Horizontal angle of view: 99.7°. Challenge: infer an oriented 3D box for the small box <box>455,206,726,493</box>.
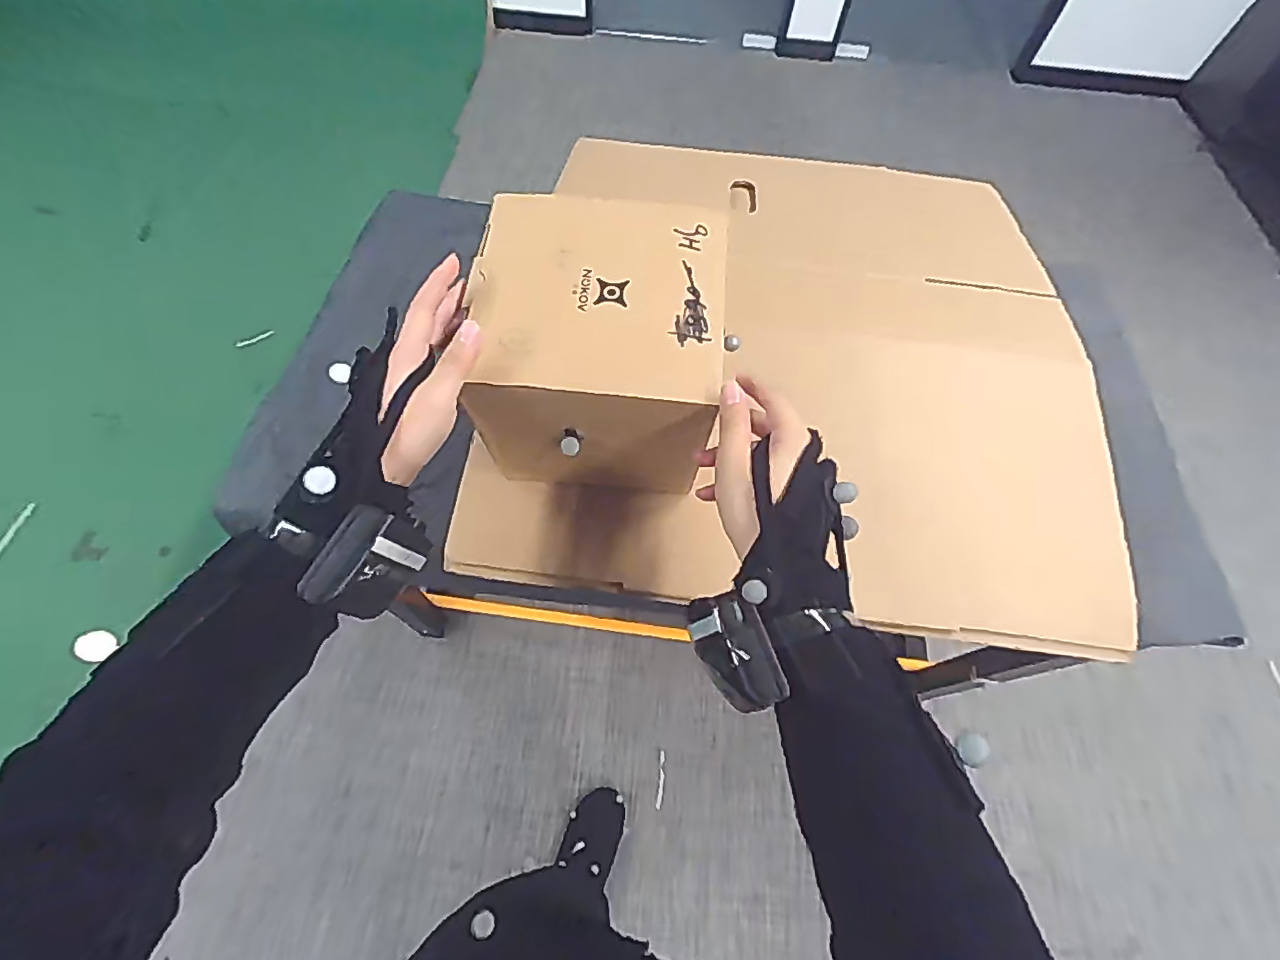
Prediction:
[{"bbox_3d":[-0.029,-0.096,0.453,0.179,0.176,0.168,5,68,1],"label":"small box"}]
